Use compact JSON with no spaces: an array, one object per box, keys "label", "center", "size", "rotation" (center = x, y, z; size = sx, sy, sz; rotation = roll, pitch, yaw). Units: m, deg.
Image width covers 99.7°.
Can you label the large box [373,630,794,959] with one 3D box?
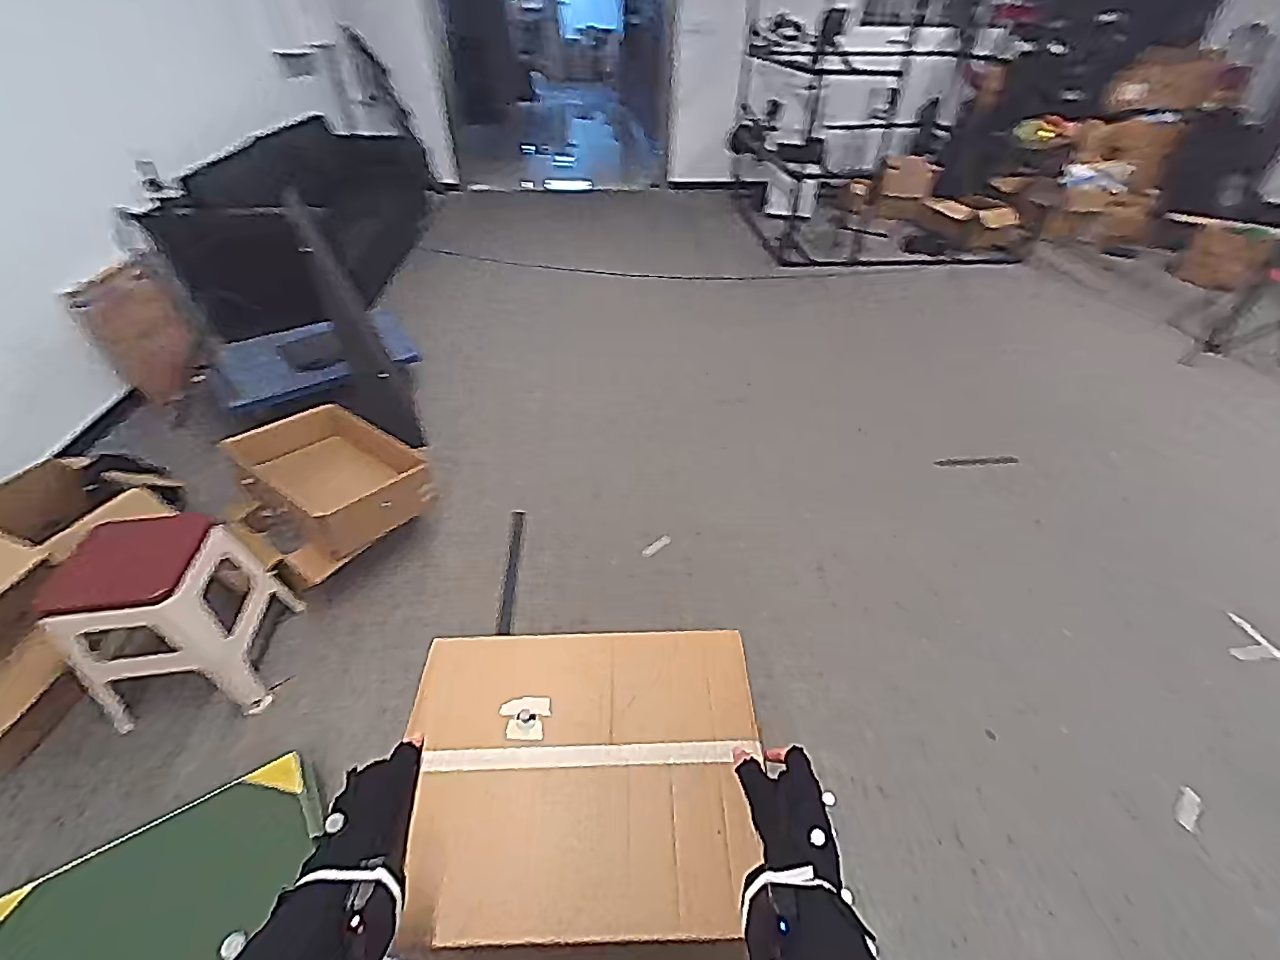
[{"label":"large box","center":[-0.049,0.419,0.714],"size":[0.408,0.320,0.320],"rotation":[-1,43,1]}]
